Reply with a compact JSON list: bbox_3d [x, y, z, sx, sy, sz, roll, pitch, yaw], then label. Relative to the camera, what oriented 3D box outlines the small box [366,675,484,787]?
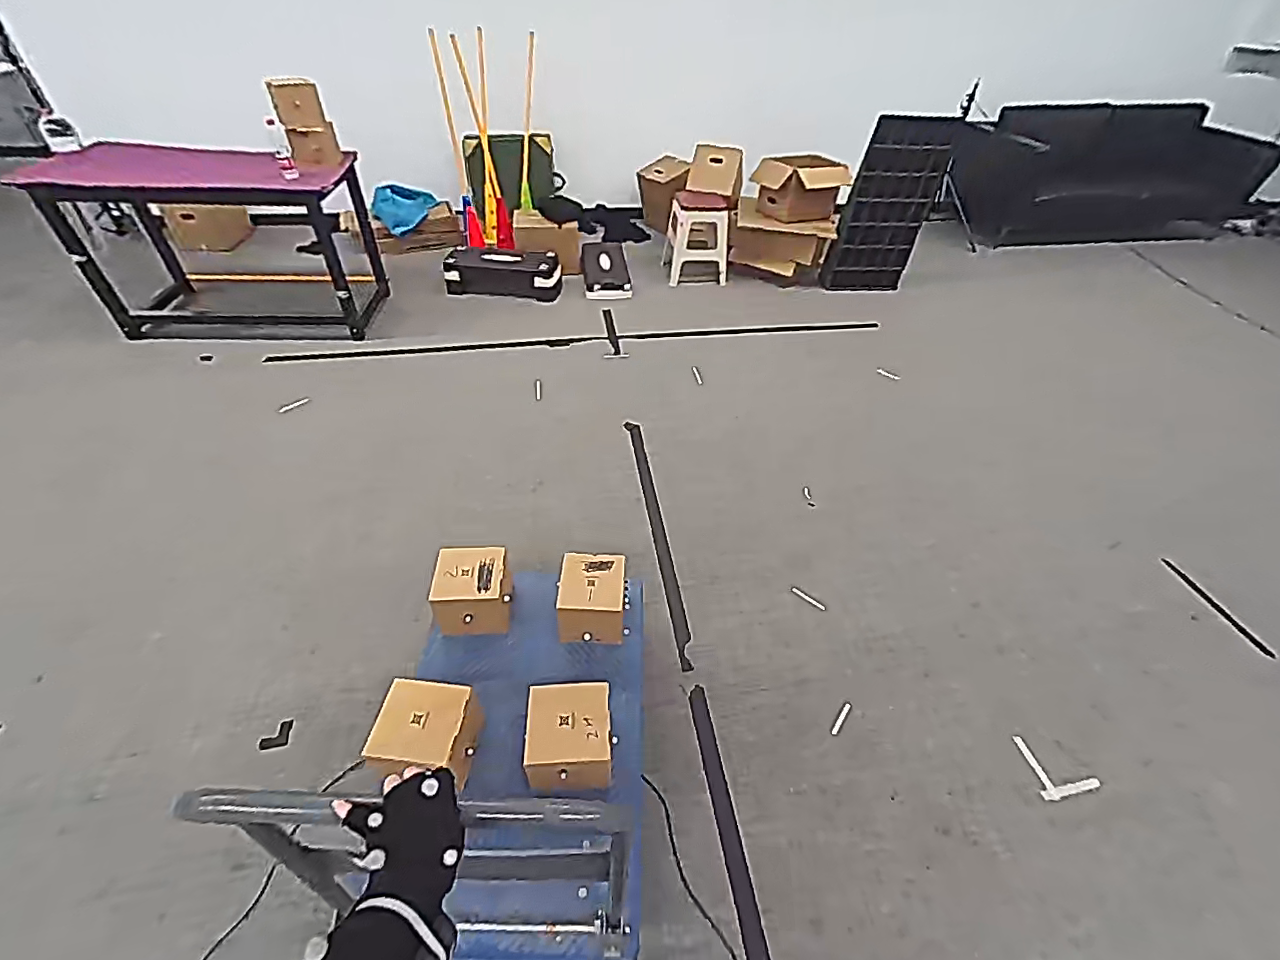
[{"bbox_3d":[-0.459,0.552,1.184,0.179,0.176,0.168,7,43,1],"label":"small box"}]

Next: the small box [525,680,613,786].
[{"bbox_3d":[-0.149,0.560,1.192,0.179,0.176,0.168,-1,44,-4],"label":"small box"}]

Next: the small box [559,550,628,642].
[{"bbox_3d":[-0.121,0.312,1.452,0.168,0.176,0.179,3,45,0],"label":"small box"}]
